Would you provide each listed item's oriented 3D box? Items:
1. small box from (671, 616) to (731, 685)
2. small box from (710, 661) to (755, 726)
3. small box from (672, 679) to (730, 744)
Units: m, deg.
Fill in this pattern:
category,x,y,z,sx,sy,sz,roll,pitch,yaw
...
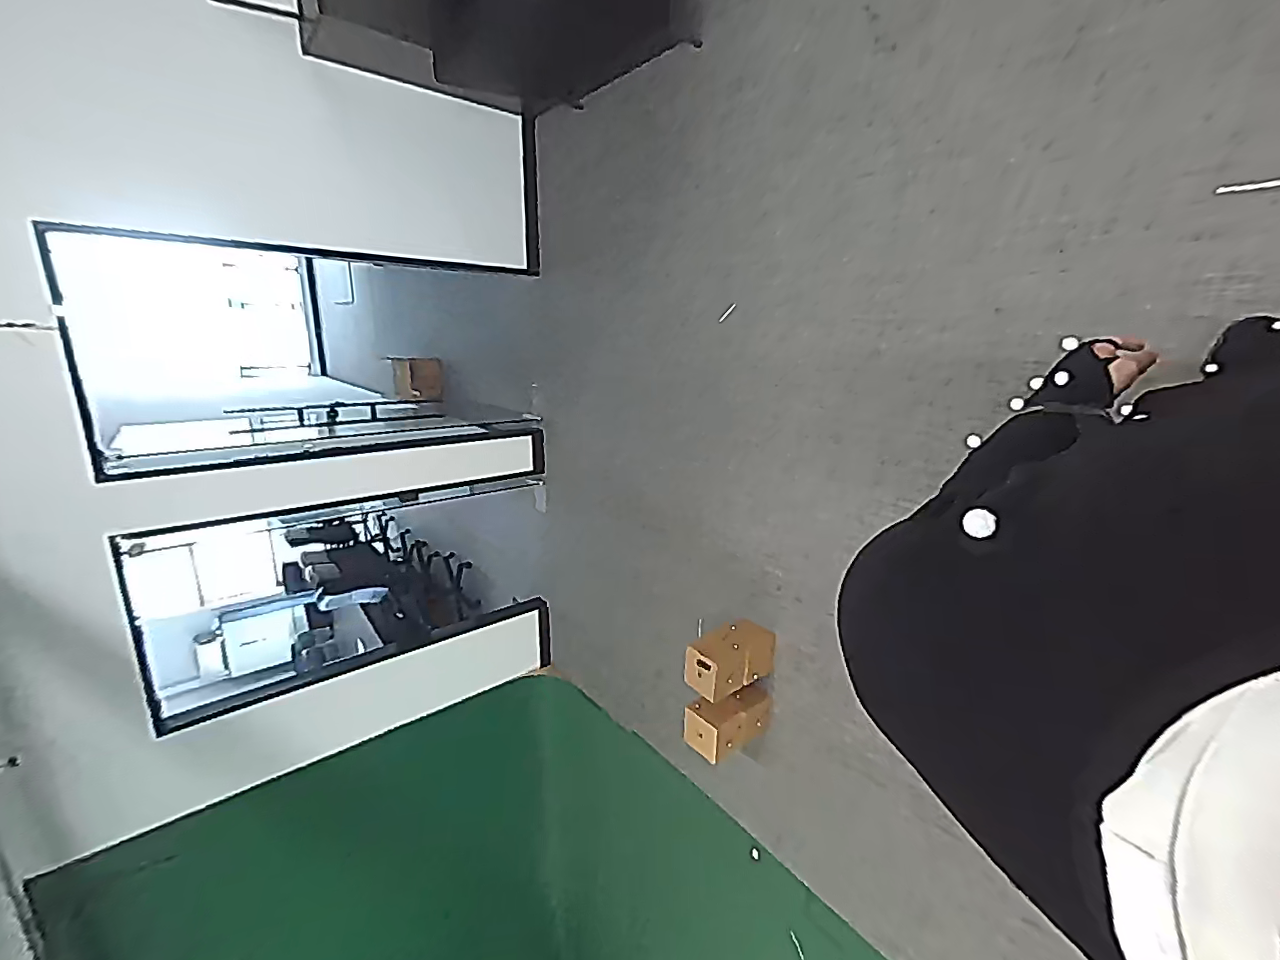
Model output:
category,x,y,z,sx,sy,sz,roll,pitch,yaw
small box,0.245,0.669,2.147,0.168,0.176,0.179,24,118,46
small box,0.373,0.906,2.317,0.179,0.176,0.168,22,116,45
small box,0.250,0.932,2.215,0.179,0.176,0.168,19,114,47
